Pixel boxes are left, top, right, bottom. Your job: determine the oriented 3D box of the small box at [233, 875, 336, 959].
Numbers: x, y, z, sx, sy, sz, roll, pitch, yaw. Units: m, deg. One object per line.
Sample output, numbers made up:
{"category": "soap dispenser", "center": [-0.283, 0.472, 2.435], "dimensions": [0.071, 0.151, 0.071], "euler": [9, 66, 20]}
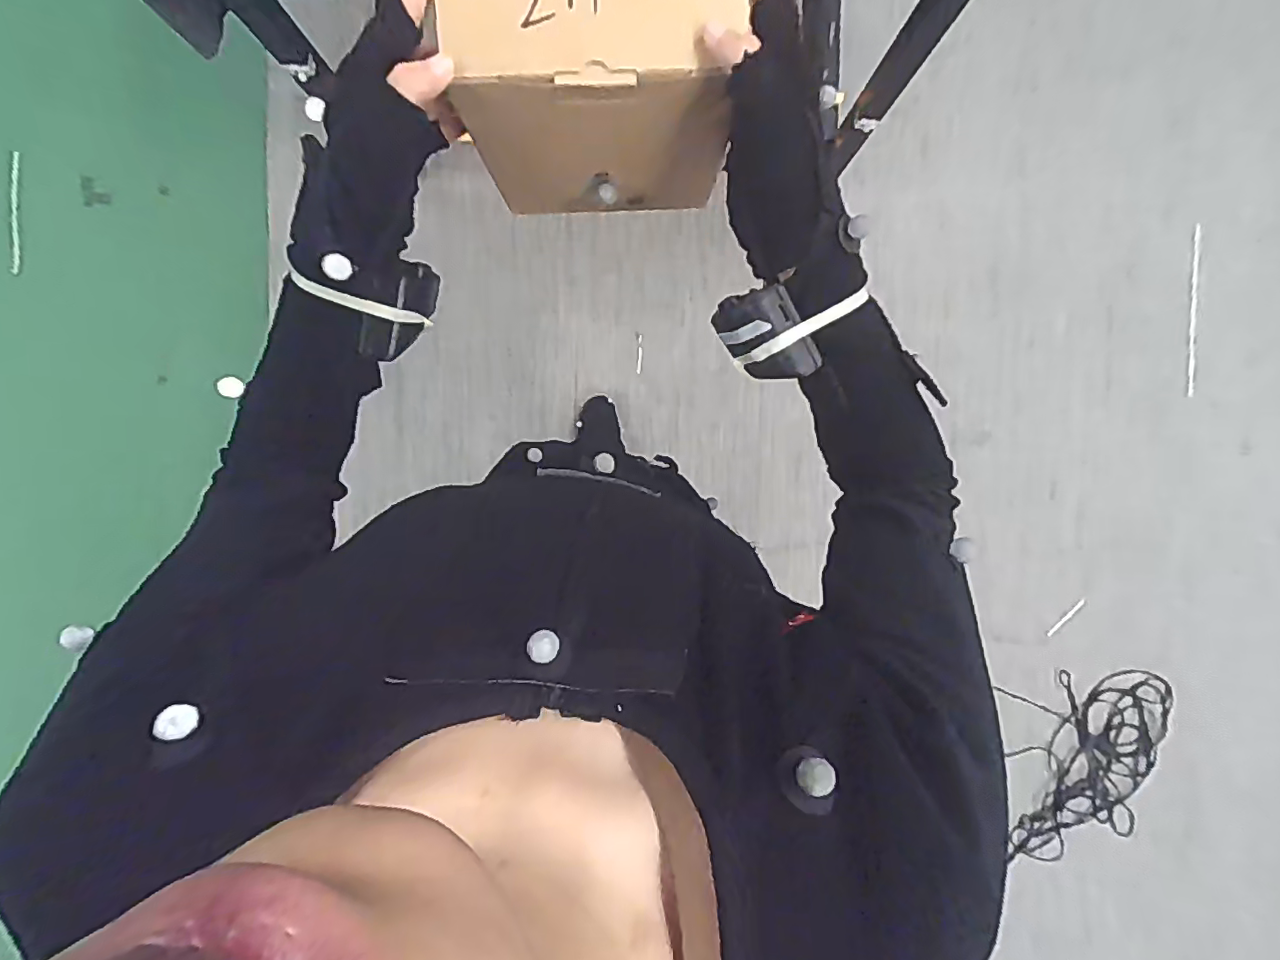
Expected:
{"category": "small box", "center": [-0.920, 1.181, 1.411], "dimensions": [0.168, 0.176, 0.179], "euler": [2, 91, -2]}
